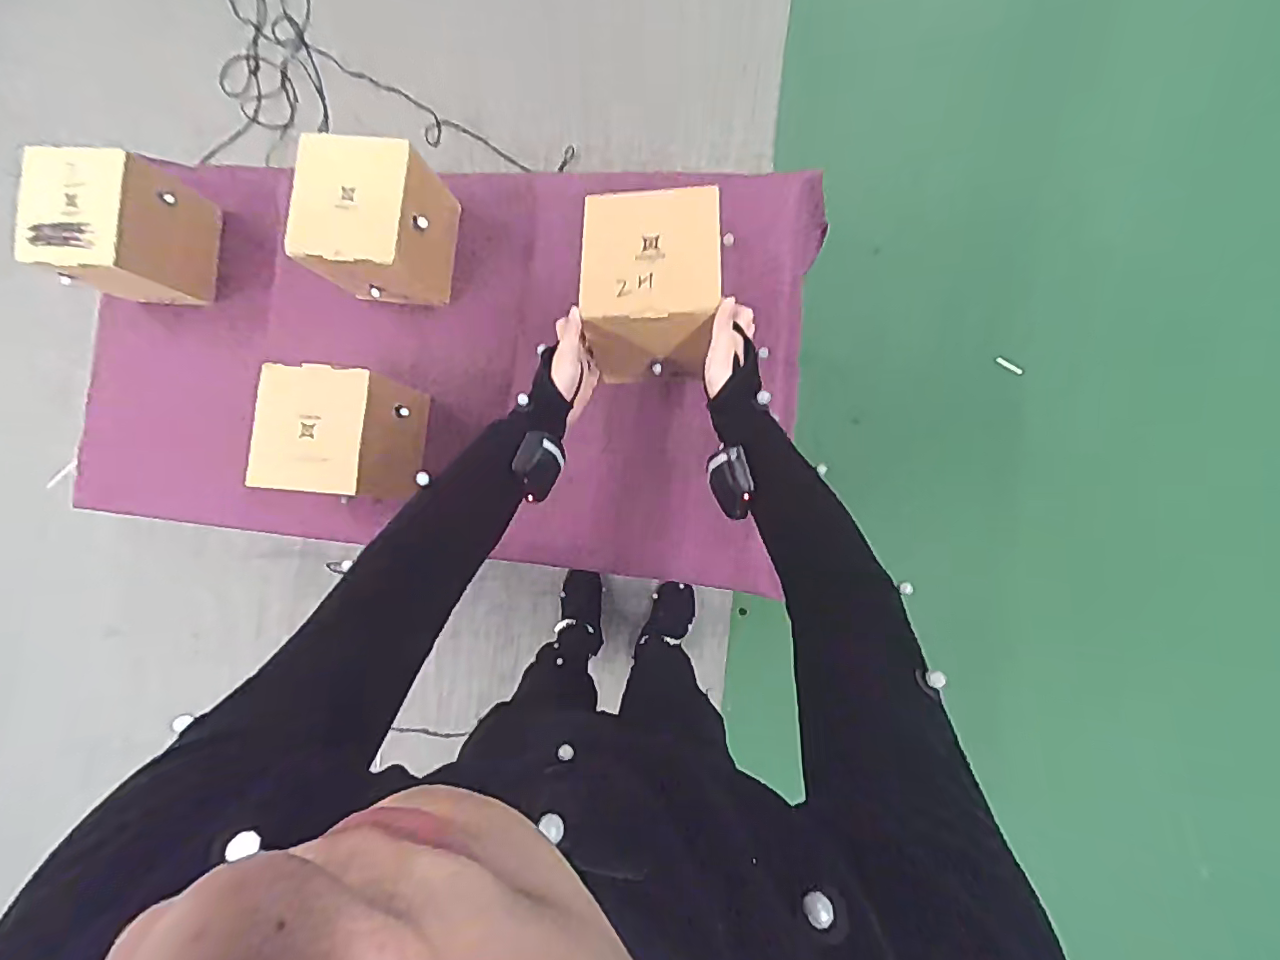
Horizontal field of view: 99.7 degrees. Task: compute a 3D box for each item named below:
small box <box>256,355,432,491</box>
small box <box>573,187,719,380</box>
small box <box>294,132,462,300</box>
[{"bbox_3d":[-0.444,-0.080,0.839,0.168,0.176,0.179,6,88,8],"label":"small box"},{"bbox_3d":[0.018,-0.249,0.716,0.168,0.176,0.179,0,72,10],"label":"small box"},{"bbox_3d":[-0.396,-0.403,0.846,0.168,0.176,0.179,8,91,7],"label":"small box"}]
